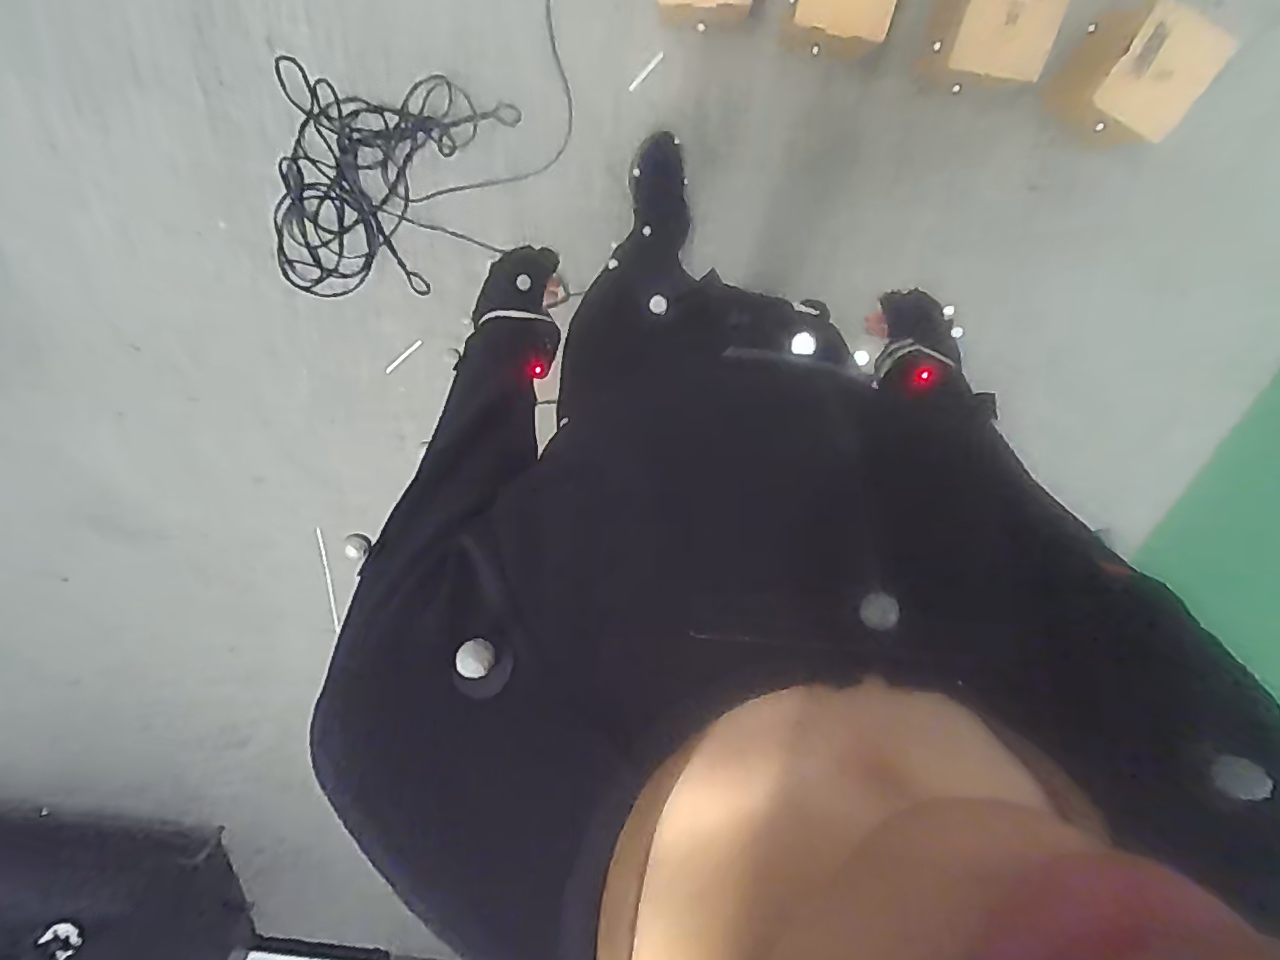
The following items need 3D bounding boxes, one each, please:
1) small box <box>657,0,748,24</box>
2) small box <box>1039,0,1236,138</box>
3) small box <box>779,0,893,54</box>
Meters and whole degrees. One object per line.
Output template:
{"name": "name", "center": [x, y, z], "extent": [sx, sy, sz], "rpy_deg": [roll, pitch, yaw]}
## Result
{"name": "small box", "center": [0.113, -0.943, 0.958], "extent": [0.168, 0.176, 0.179], "rpy_deg": [3, 120, 3]}
{"name": "small box", "center": [0.914, -0.767, 1.017], "extent": [0.179, 0.176, 0.168], "rpy_deg": [21, 119, -10]}
{"name": "small box", "center": [0.361, -0.902, 0.971], "extent": [0.168, 0.176, 0.179], "rpy_deg": [9, 120, -2]}
